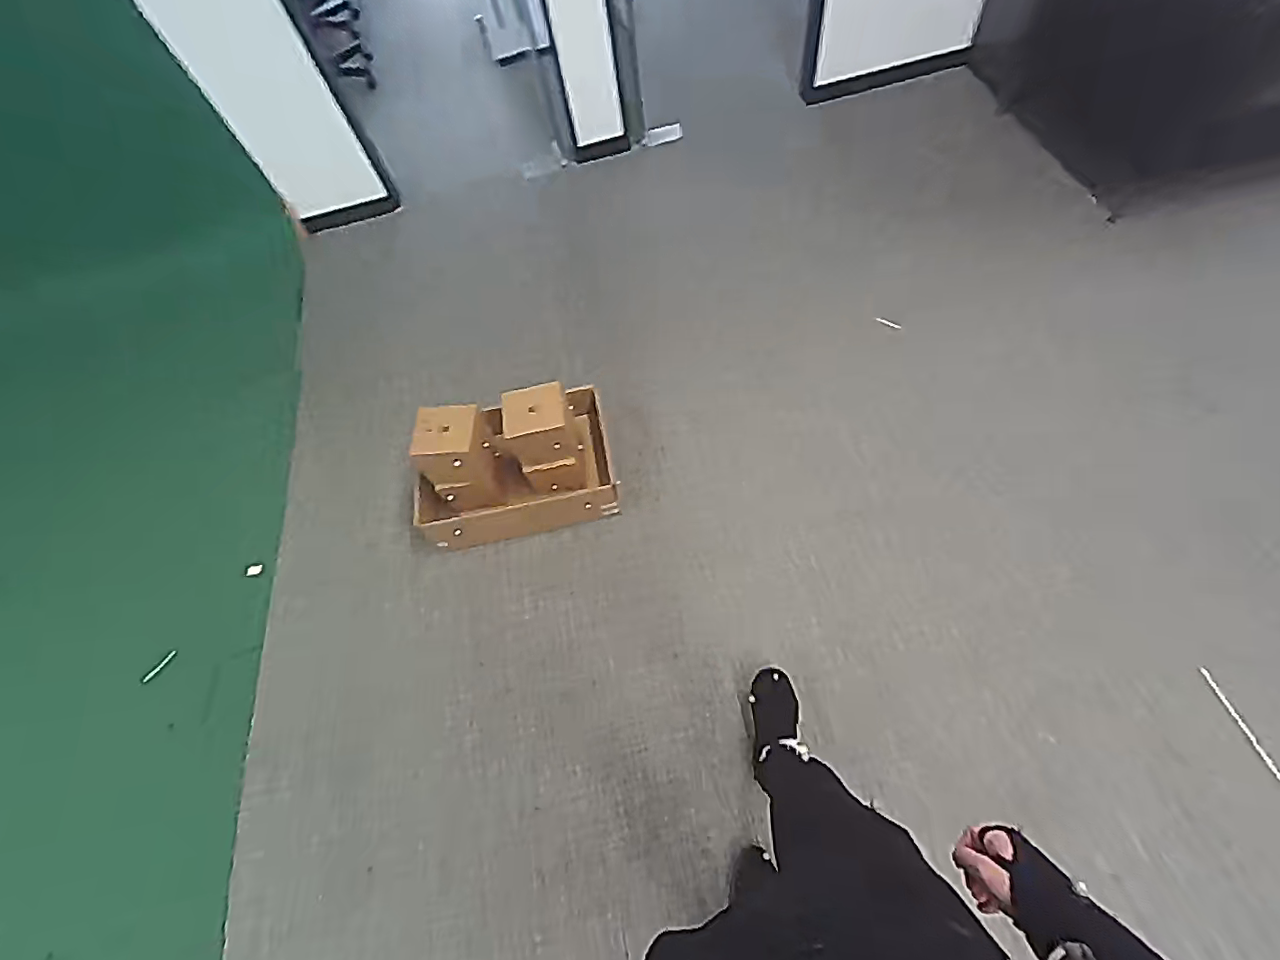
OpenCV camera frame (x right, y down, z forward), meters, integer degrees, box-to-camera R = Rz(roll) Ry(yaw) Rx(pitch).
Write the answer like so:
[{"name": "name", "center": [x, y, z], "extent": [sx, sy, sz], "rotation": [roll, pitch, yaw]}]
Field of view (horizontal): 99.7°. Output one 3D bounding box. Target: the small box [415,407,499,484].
[{"name": "small box", "center": [-0.534, -0.099, 1.607], "extent": [0.179, 0.176, 0.168], "rotation": [-3, 60, 5]}]
